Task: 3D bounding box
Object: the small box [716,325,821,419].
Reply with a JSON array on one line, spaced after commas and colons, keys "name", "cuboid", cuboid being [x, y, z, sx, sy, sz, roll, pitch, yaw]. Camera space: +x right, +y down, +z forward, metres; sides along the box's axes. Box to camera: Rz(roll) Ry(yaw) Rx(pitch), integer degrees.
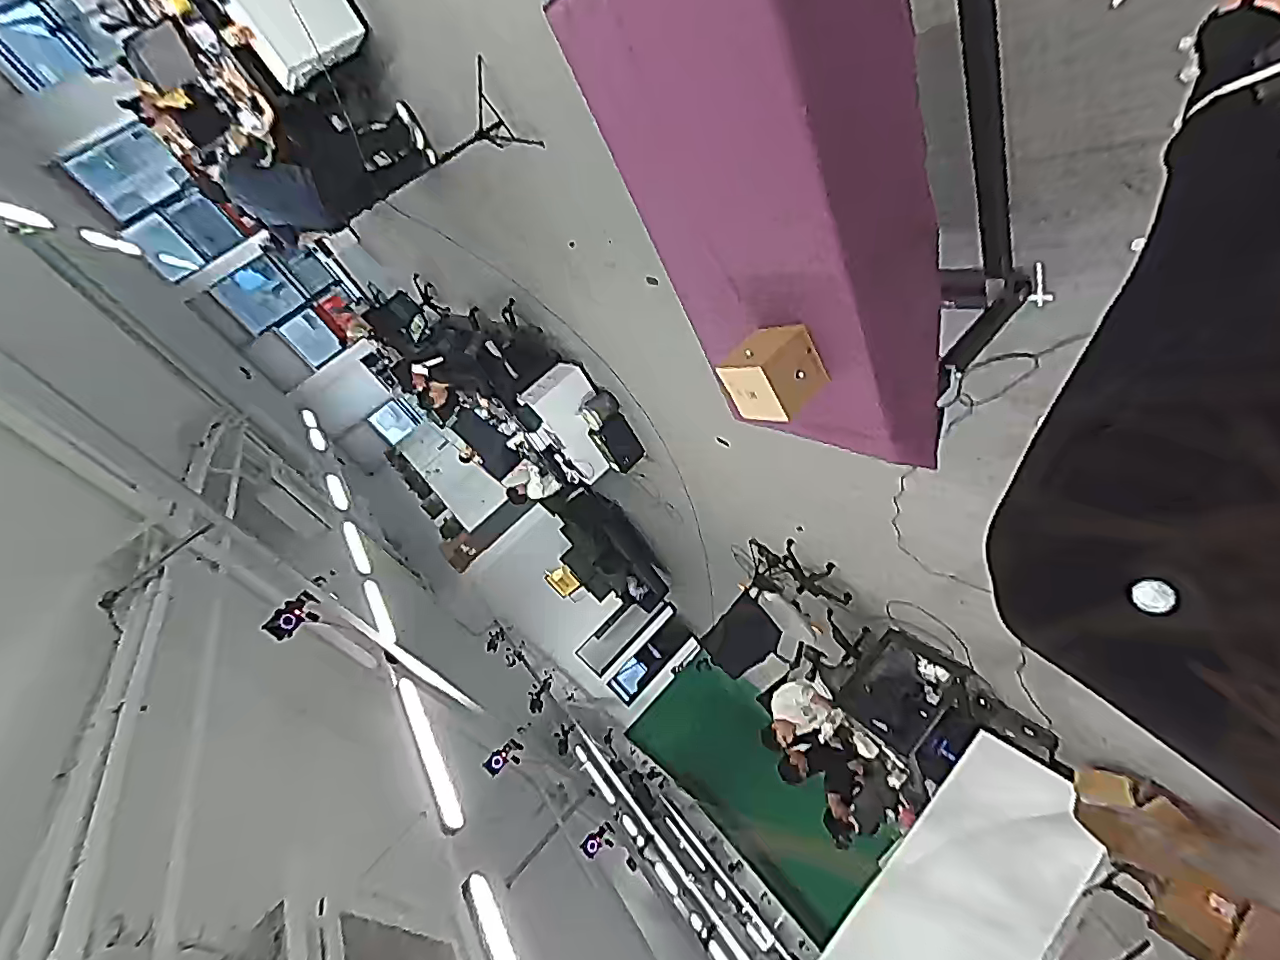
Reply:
[{"name": "small box", "cuboid": [0.332, -0.276, 1.371, 0.168, 0.176, 0.179, 55, 163, -26]}]
